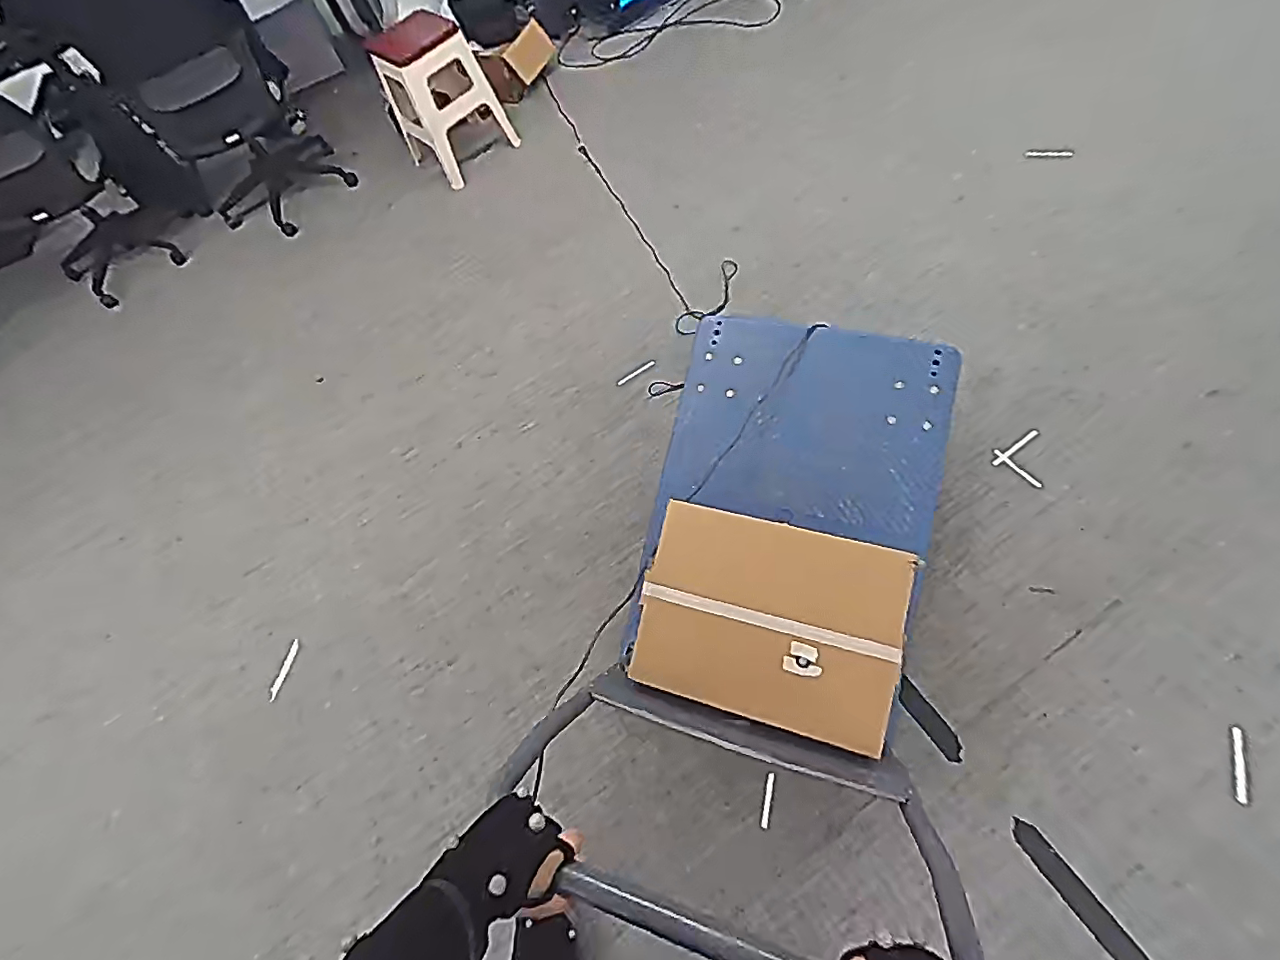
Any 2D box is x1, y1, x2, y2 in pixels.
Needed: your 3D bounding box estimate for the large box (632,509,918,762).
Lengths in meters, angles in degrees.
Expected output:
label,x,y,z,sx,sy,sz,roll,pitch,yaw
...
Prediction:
label,x,y,z,sx,sy,sz,roll,pitch,yaw
large box,0.237,0.258,1.006,0.408,0.320,0.320,13,85,15
